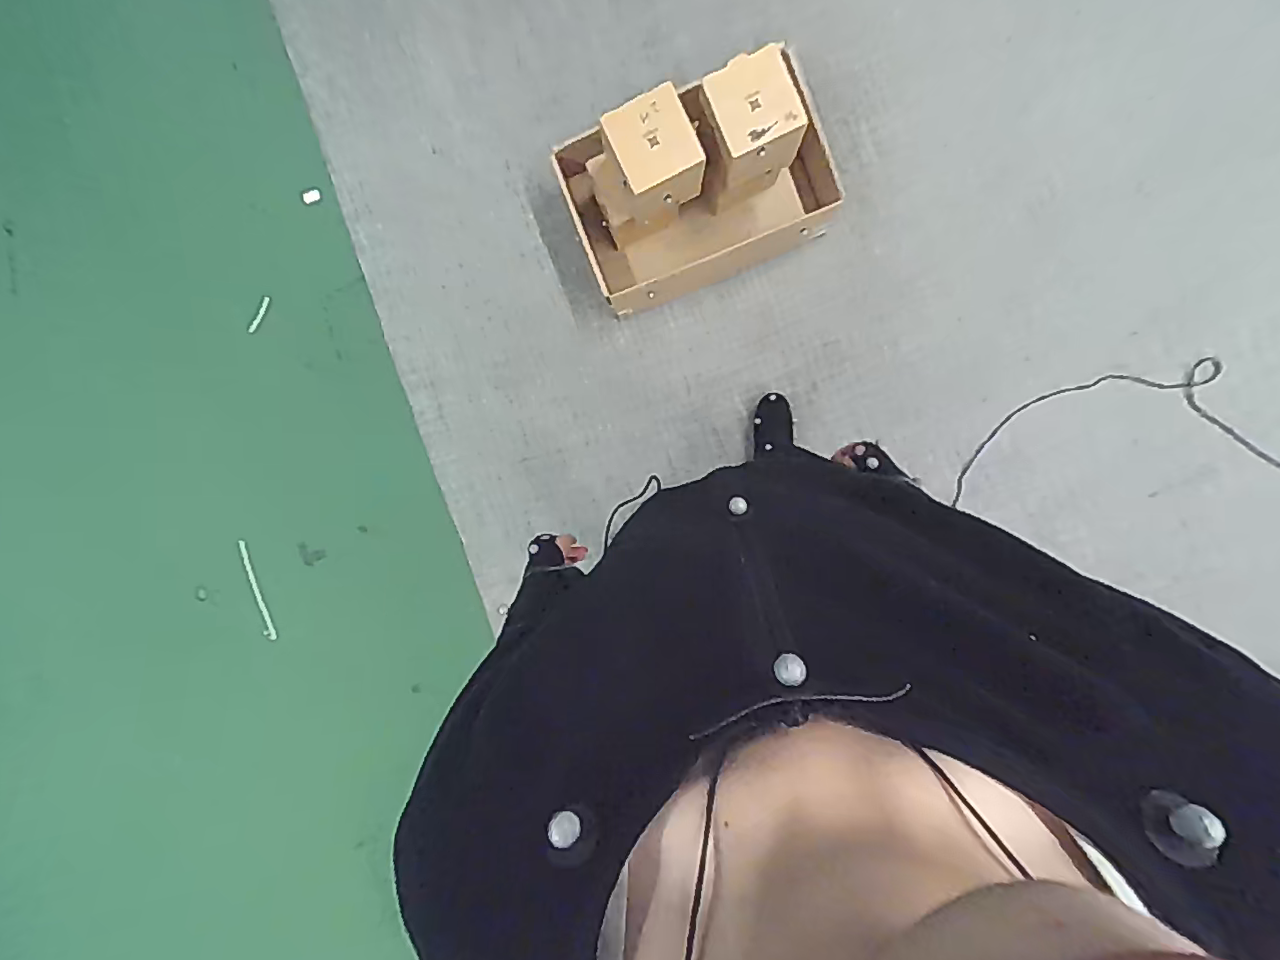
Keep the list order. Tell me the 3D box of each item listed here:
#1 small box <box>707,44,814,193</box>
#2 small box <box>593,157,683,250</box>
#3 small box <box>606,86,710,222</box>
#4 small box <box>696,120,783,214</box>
[{"bbox_3d":[0.250,-0.767,1.168,0.168,0.176,0.179,-23,91,8],"label":"small box"},{"bbox_3d":[0.003,-0.710,1.360,0.179,0.176,0.168,-24,92,4],"label":"small box"},{"bbox_3d":[0.042,-0.702,1.194,0.168,0.176,0.179,-26,92,4],"label":"small box"},{"bbox_3d":[0.252,-0.795,1.332,0.179,0.176,0.168,-28,91,7],"label":"small box"}]
